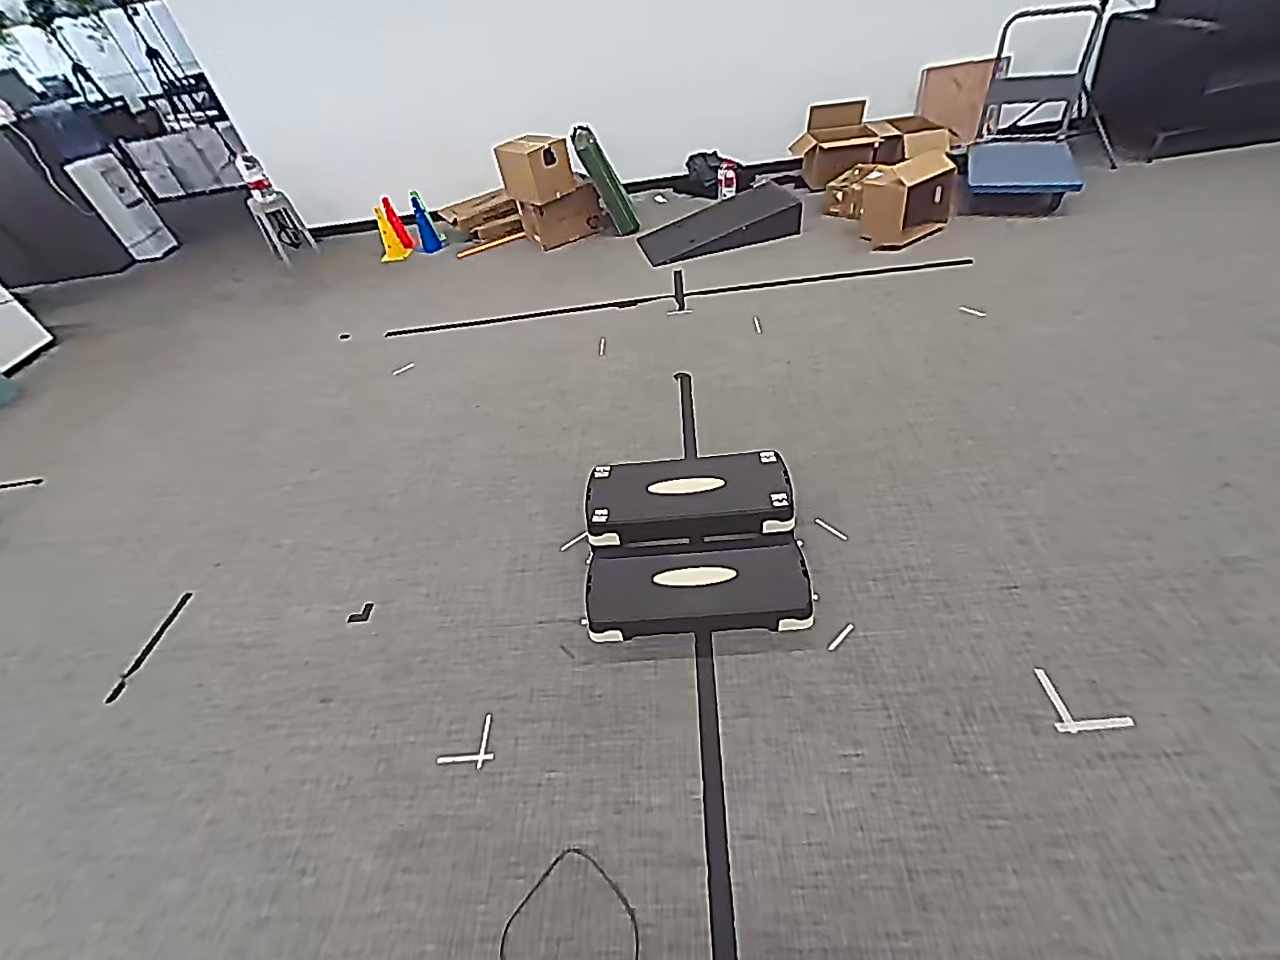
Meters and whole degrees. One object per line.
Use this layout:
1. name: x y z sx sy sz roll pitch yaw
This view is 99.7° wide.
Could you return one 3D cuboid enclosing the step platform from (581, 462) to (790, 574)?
1. step platform: 0.146 0.122 1.811 0.684 0.204 0.286 -5 45 4
